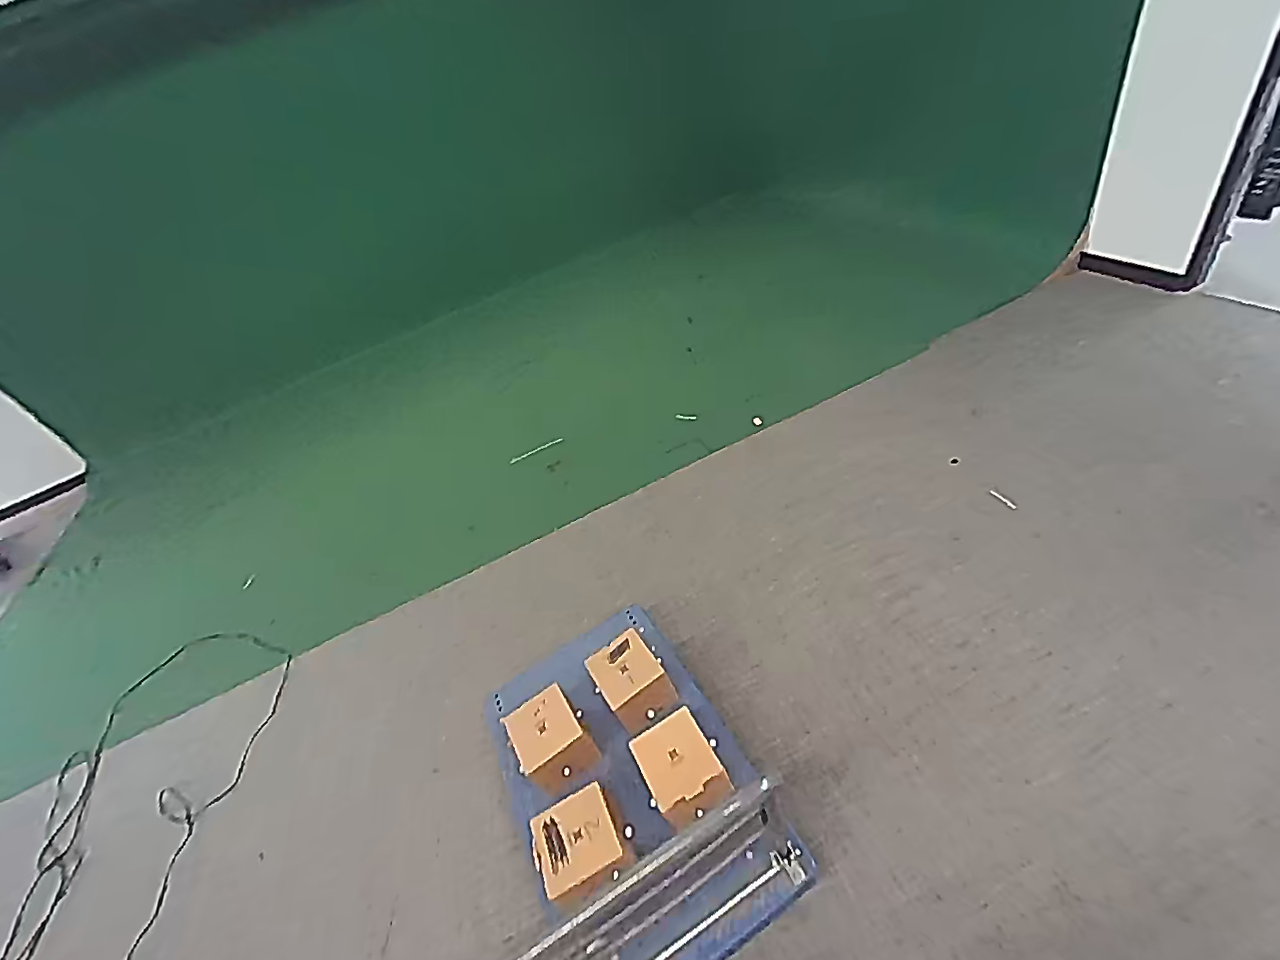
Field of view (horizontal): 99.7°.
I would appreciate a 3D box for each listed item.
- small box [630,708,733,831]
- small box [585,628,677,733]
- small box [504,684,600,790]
[{"bbox_3d":[0.100,0.691,1.288,0.168,0.176,0.179,-29,42,-10],"label":"small box"},{"bbox_3d":[-0.022,0.553,1.486,0.168,0.176,0.179,-33,43,-12],"label":"small box"},{"bbox_3d":[-0.228,0.685,1.428,0.168,0.176,0.179,-32,42,-14],"label":"small box"}]
